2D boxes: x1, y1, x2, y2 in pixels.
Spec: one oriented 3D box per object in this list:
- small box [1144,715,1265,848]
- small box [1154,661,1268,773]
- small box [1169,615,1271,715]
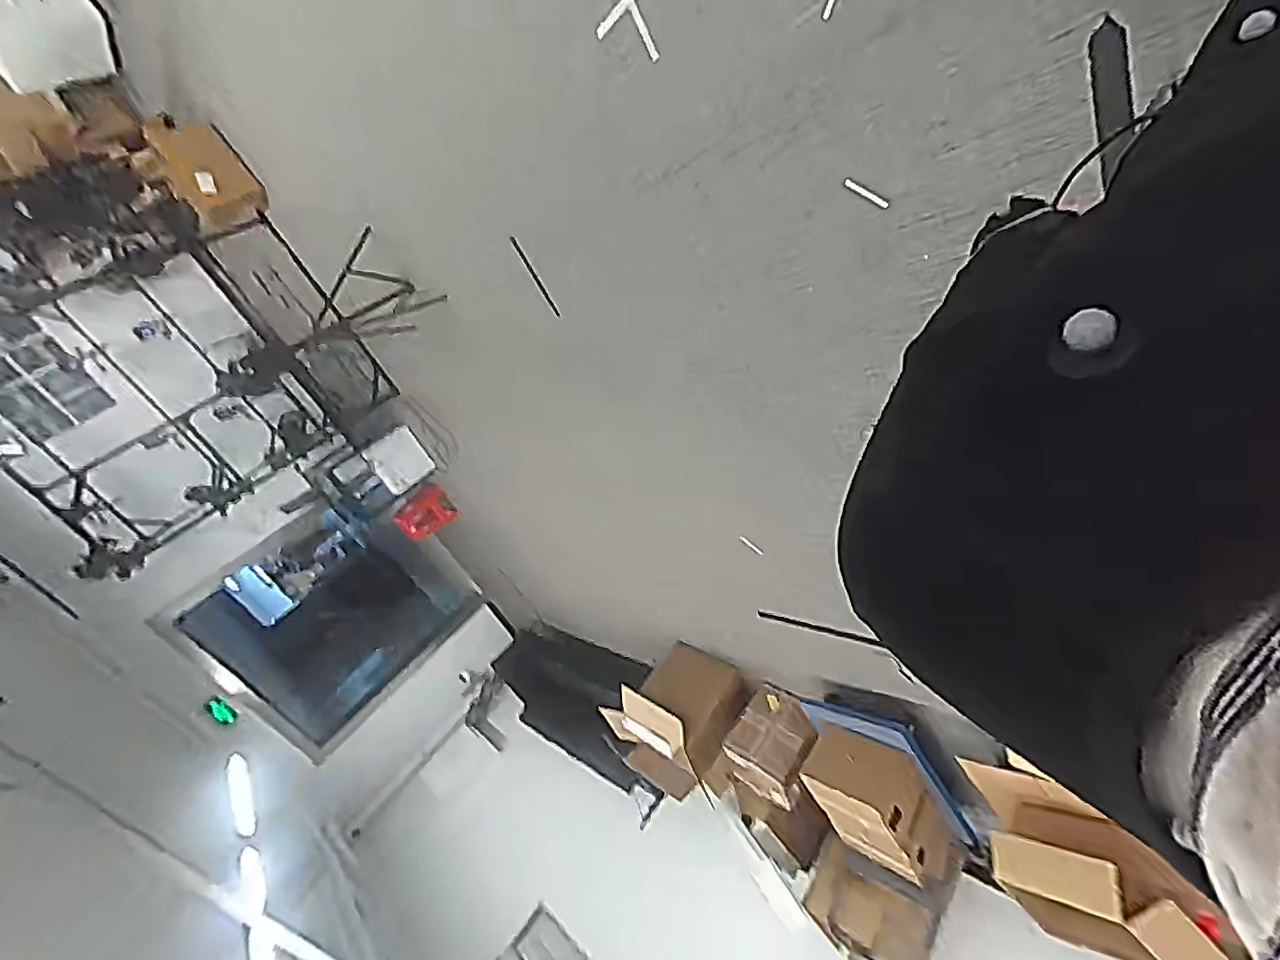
[{"bbox_3d":[1.273,0.667,1.220,0.179,0.176,0.168,4,131,52],"label":"small box"},{"bbox_3d":[1.375,0.565,1.301,0.179,0.176,0.168,3,130,52],"label":"small box"},{"bbox_3d":[1.481,0.472,1.381,0.168,0.176,0.179,1,130,52],"label":"small box"}]
